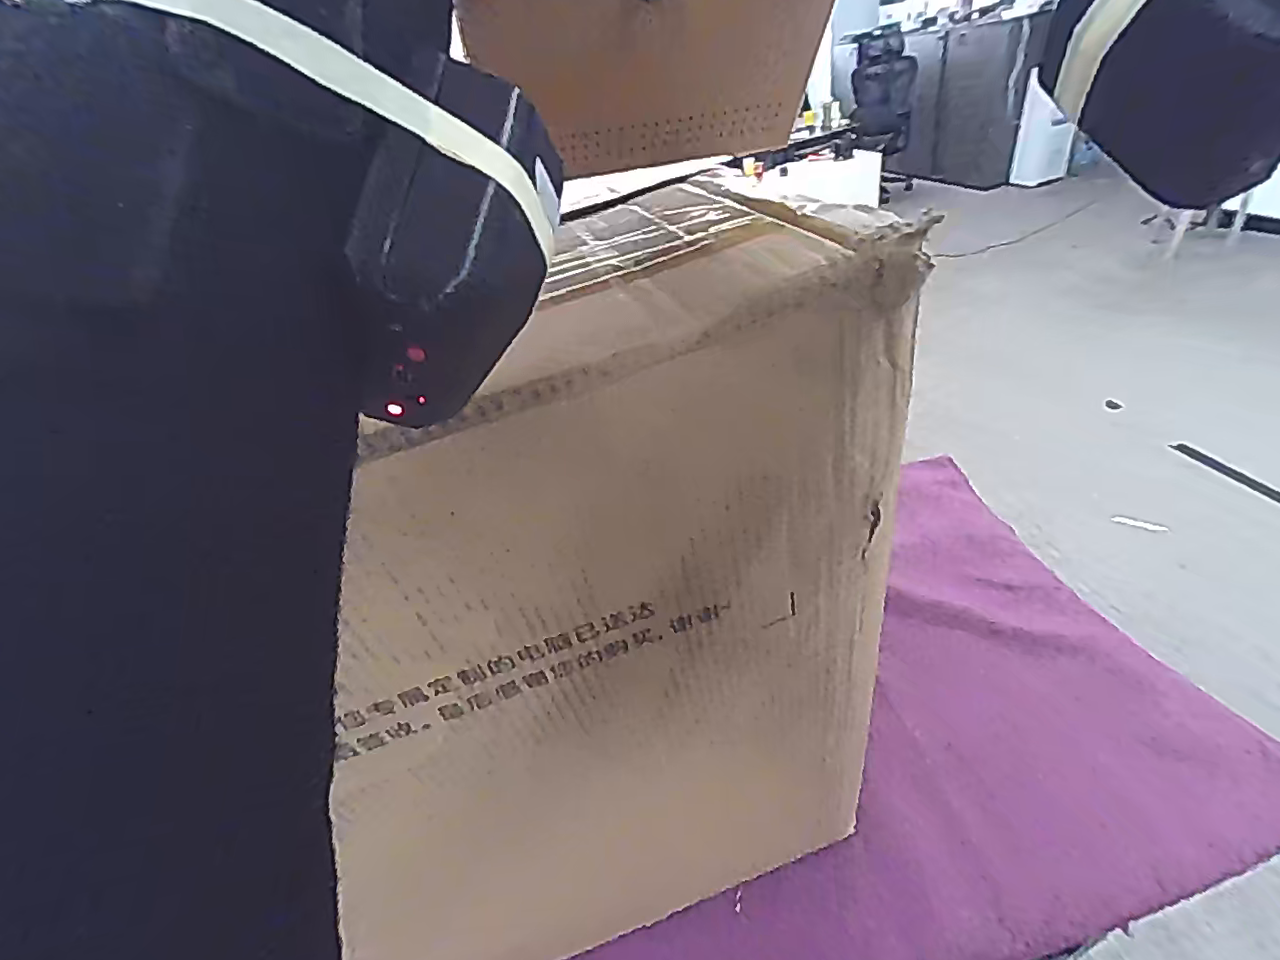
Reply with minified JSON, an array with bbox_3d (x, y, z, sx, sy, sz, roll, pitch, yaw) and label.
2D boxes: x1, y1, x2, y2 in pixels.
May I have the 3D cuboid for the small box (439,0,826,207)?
[{"bbox_3d":[-0.015,-0.269,0.264,0.179,0.176,0.168,-15,70,-8],"label":"small box"}]
